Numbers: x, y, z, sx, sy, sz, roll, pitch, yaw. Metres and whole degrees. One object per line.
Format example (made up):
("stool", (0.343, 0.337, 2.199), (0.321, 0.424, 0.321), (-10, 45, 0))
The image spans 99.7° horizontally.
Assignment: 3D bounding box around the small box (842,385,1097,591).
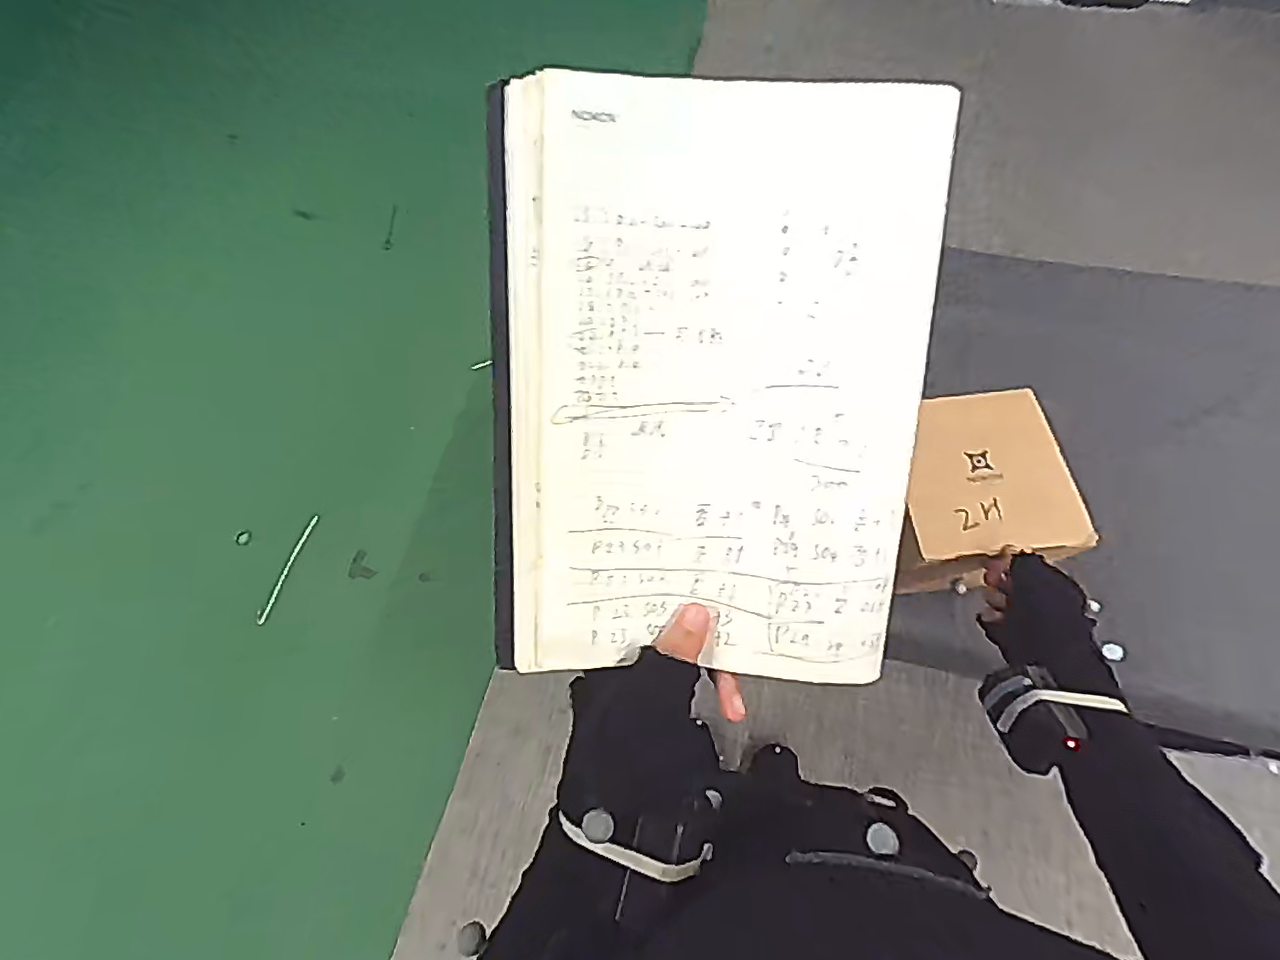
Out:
("small box", (0.348, 0.017, 0.618), (0.168, 0.176, 0.179), (-6, 66, 2))
